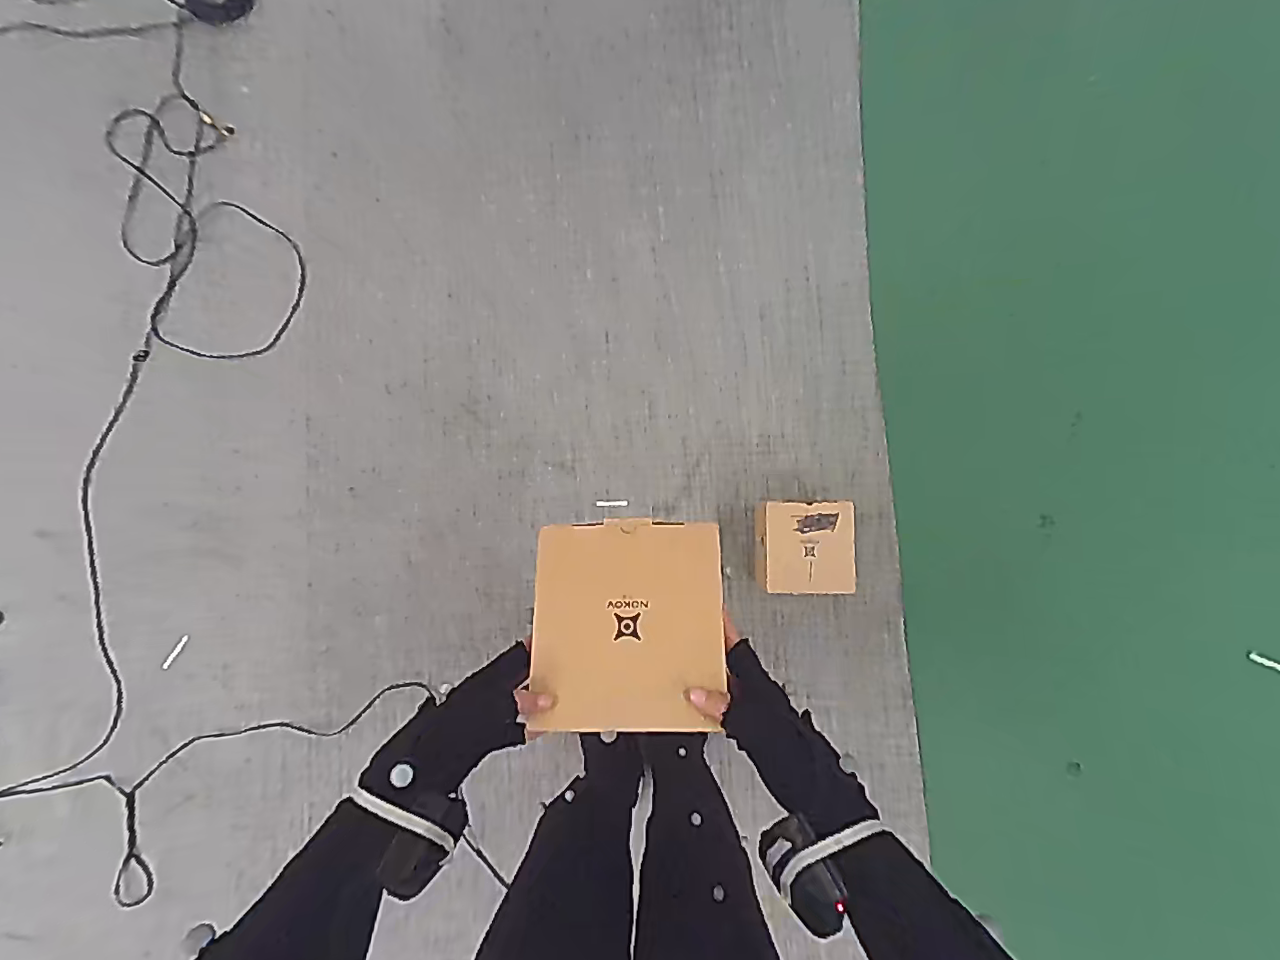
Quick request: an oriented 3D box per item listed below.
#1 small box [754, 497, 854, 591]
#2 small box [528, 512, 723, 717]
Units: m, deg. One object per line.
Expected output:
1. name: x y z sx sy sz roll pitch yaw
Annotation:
1. small box: 0.325 0.127 1.100 0.168 0.176 0.179 0 86 5
2. small box: -0.007 0.139 0.546 0.168 0.176 0.179 -1 69 2
